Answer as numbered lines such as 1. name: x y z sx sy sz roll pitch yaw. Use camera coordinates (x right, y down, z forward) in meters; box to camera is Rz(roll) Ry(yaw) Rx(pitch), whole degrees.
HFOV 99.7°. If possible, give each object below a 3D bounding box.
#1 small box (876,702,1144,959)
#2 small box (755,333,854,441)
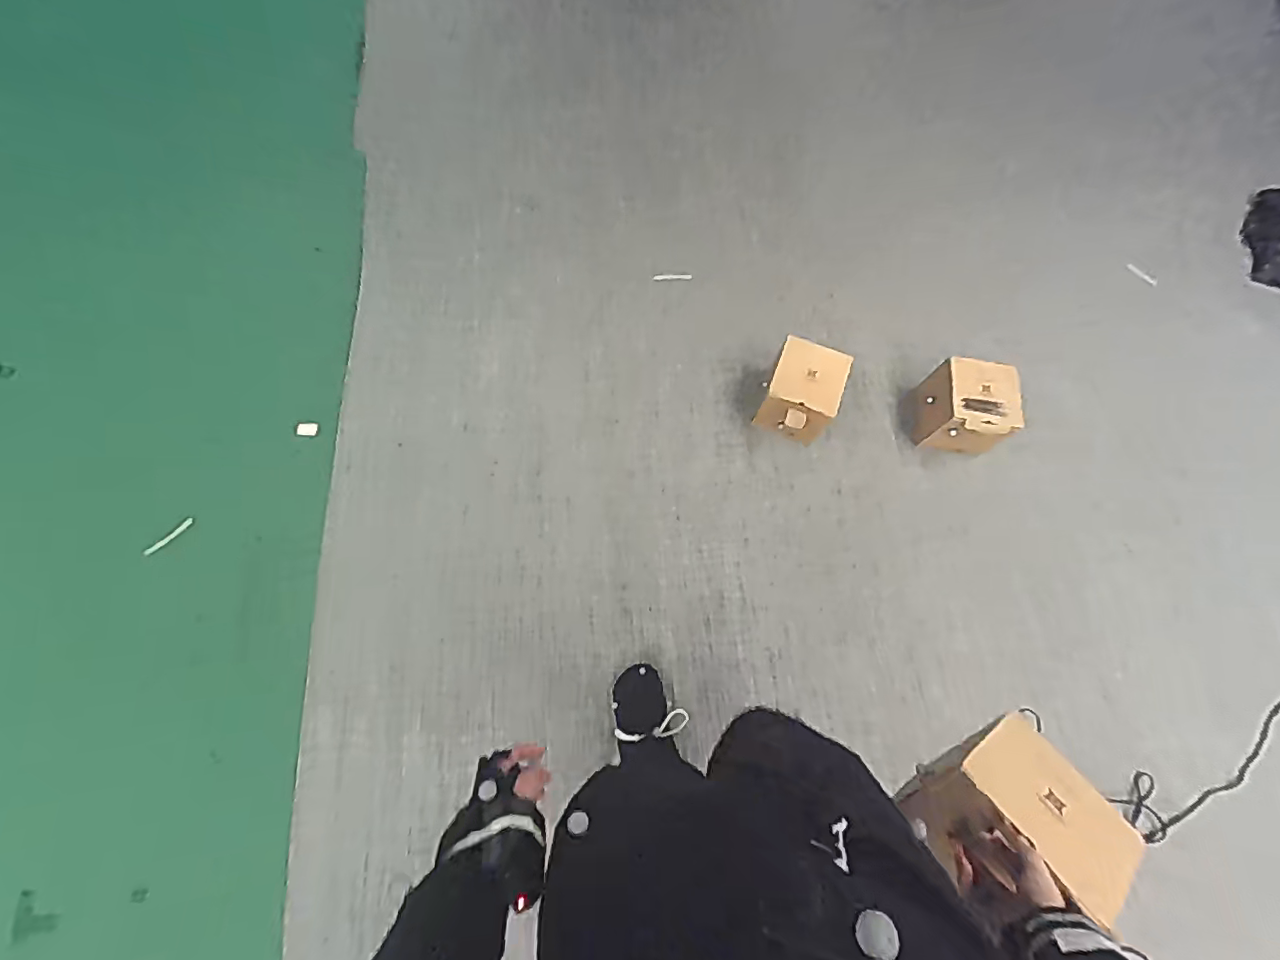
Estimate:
1. small box: 0.404 0.393 0.613 0.179 0.176 0.168 -6 47 -41
2. small box: 0.398 -0.223 1.333 0.168 0.176 0.179 21 72 4
